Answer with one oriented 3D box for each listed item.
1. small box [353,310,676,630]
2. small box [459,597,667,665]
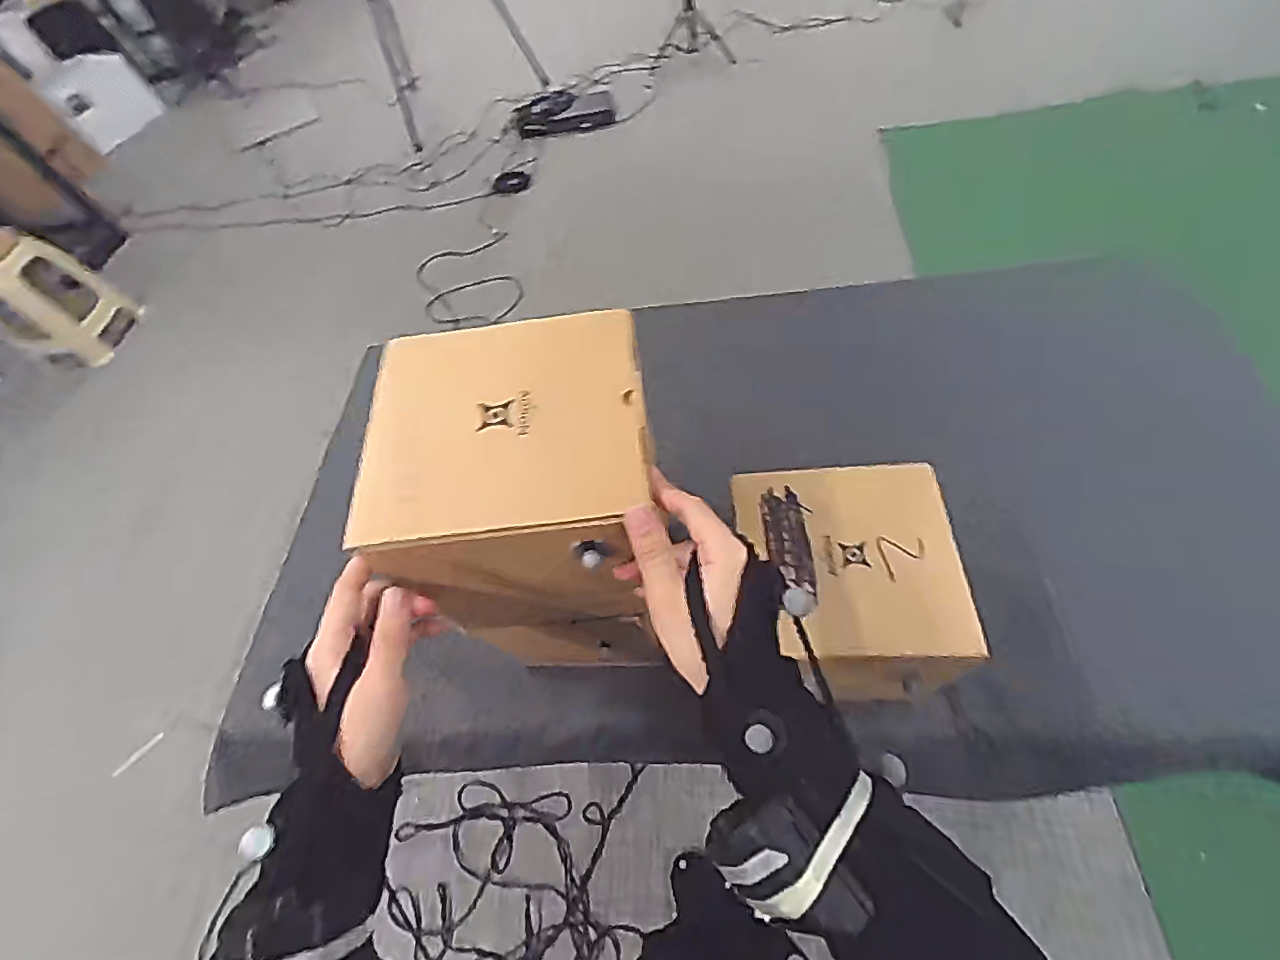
[{"bbox_3d":[-0.073,0.004,0.406,0.179,0.176,0.168,-8,59,2],"label":"small box"},{"bbox_3d":[-0.062,0.089,0.566,0.168,0.176,0.179,-3,57,8],"label":"small box"}]
